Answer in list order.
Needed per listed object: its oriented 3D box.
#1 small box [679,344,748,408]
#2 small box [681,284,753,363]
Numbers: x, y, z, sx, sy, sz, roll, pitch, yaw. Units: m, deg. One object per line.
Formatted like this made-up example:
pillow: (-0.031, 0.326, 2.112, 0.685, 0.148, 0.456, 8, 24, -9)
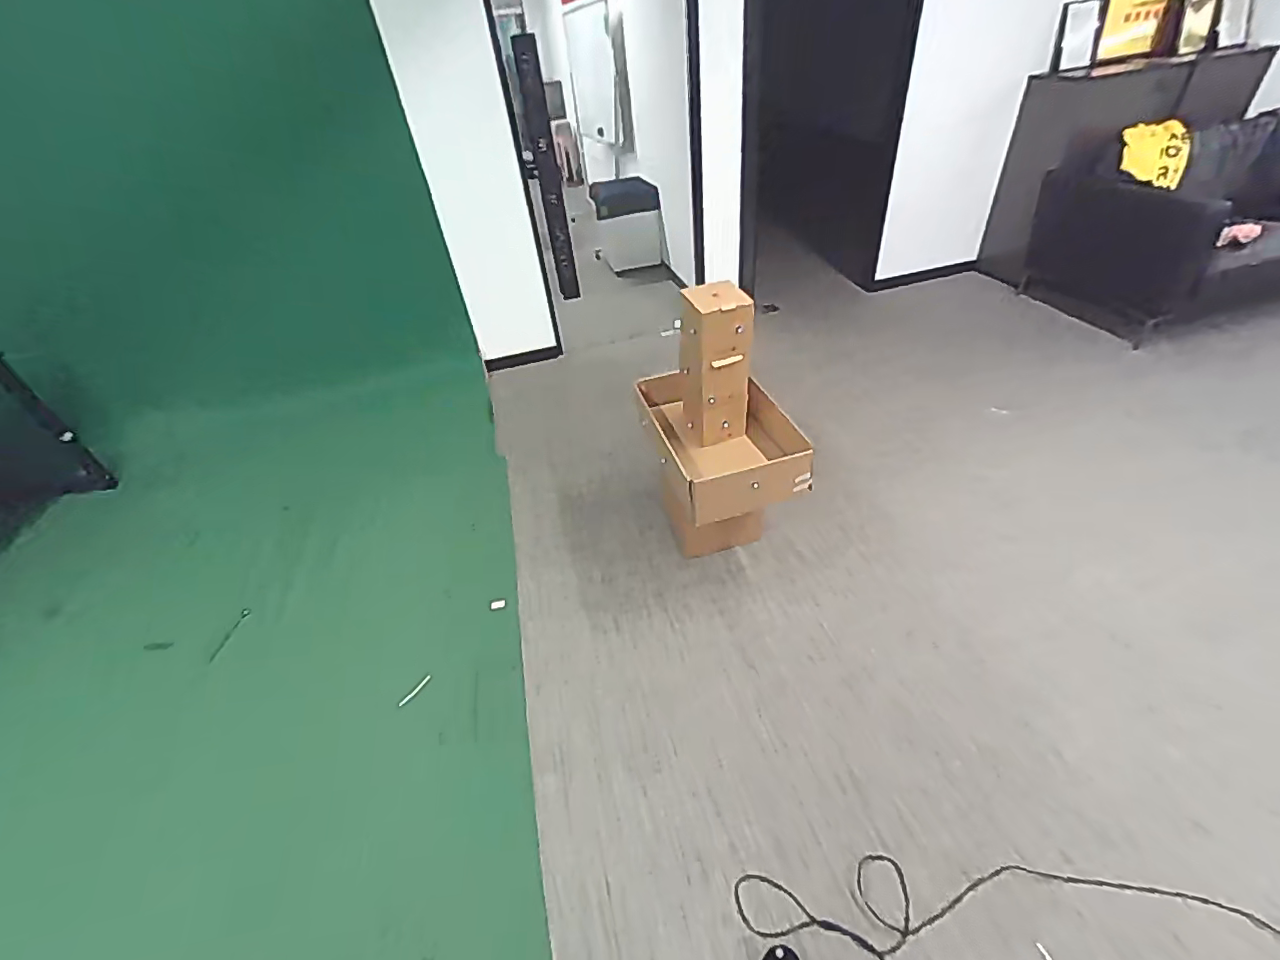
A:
small box: (0.238, -0.349, 1.755, 0.168, 0.176, 0.179, -17, 43, -12)
small box: (0.232, -0.470, 1.646, 0.168, 0.176, 0.179, -15, 43, -10)
